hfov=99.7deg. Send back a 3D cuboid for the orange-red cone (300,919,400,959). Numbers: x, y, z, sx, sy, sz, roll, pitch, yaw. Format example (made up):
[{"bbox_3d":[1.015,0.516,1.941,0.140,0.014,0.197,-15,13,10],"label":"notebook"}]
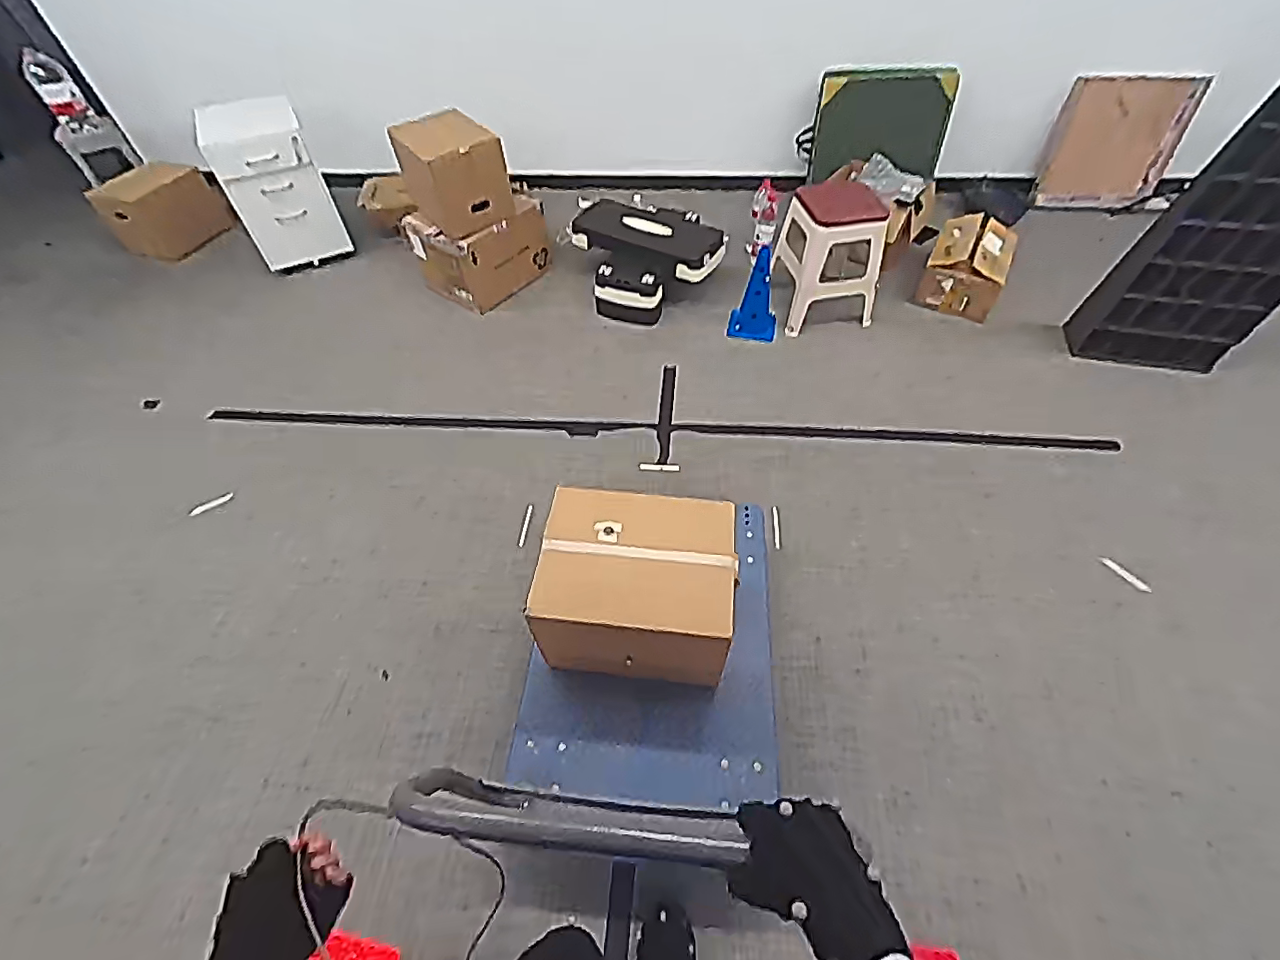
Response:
[{"bbox_3d":[-0.604,0.907,0.937,0.198,0.360,0.199,10,52,8],"label":"orange-red cone"}]

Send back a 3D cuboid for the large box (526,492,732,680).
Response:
[{"bbox_3d":[-0.003,0.249,1.244,0.408,0.320,0.320,5,53,6],"label":"large box"}]
